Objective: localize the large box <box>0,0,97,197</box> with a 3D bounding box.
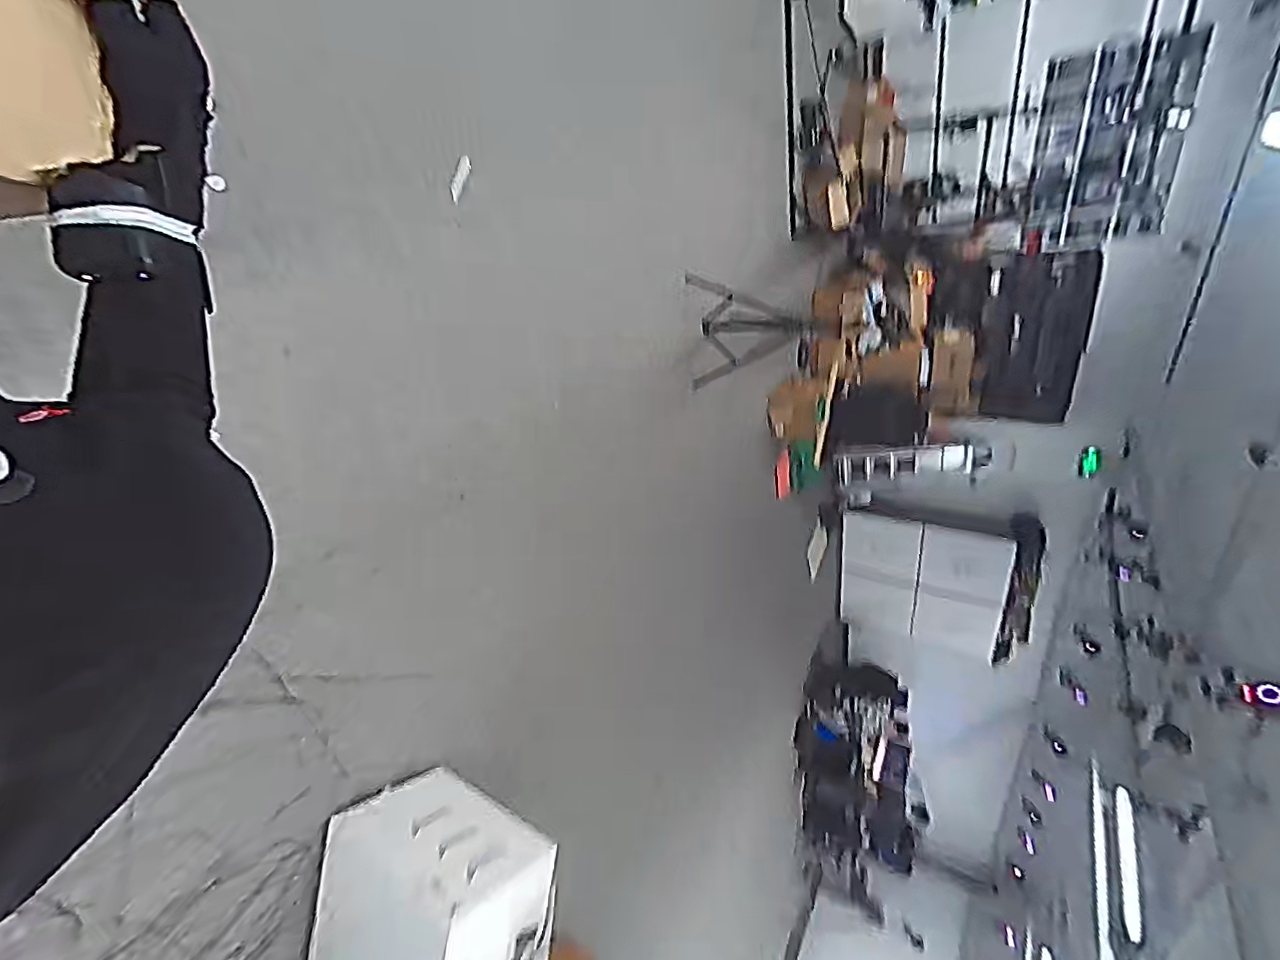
[{"bbox_3d":[-0.610,-0.374,0.271,0.408,0.320,0.320,-10,111,-60],"label":"large box"}]
